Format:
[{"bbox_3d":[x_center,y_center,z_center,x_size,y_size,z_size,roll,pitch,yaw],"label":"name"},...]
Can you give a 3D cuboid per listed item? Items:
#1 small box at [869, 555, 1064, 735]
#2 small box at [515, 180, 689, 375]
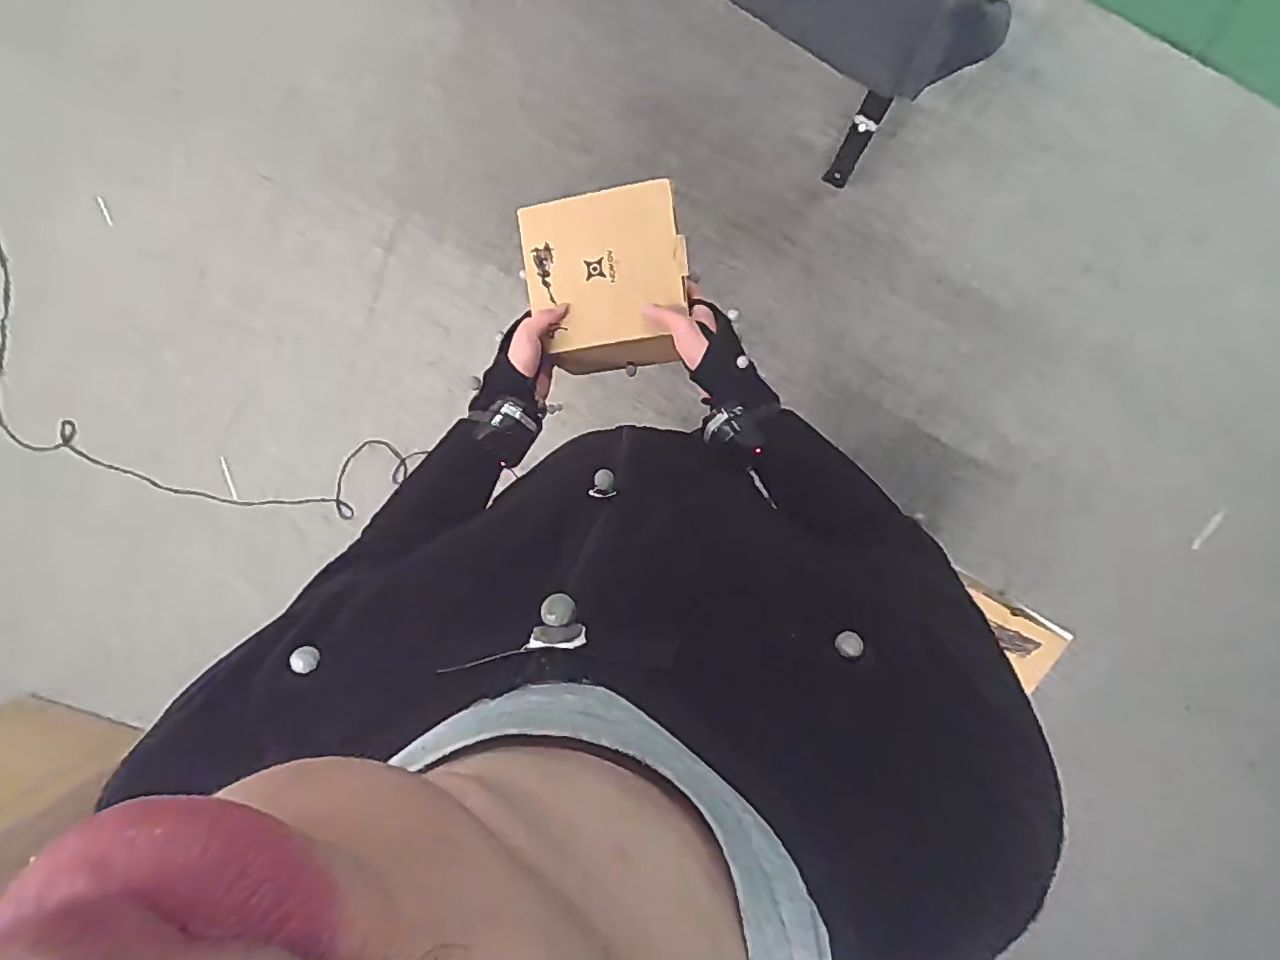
[{"bbox_3d":[0.487,0.243,0.844,0.168,0.176,0.179,30,103,3],"label":"small box"},{"bbox_3d":[-0.034,-0.232,0.663,0.179,0.176,0.168,-7,90,7],"label":"small box"}]
